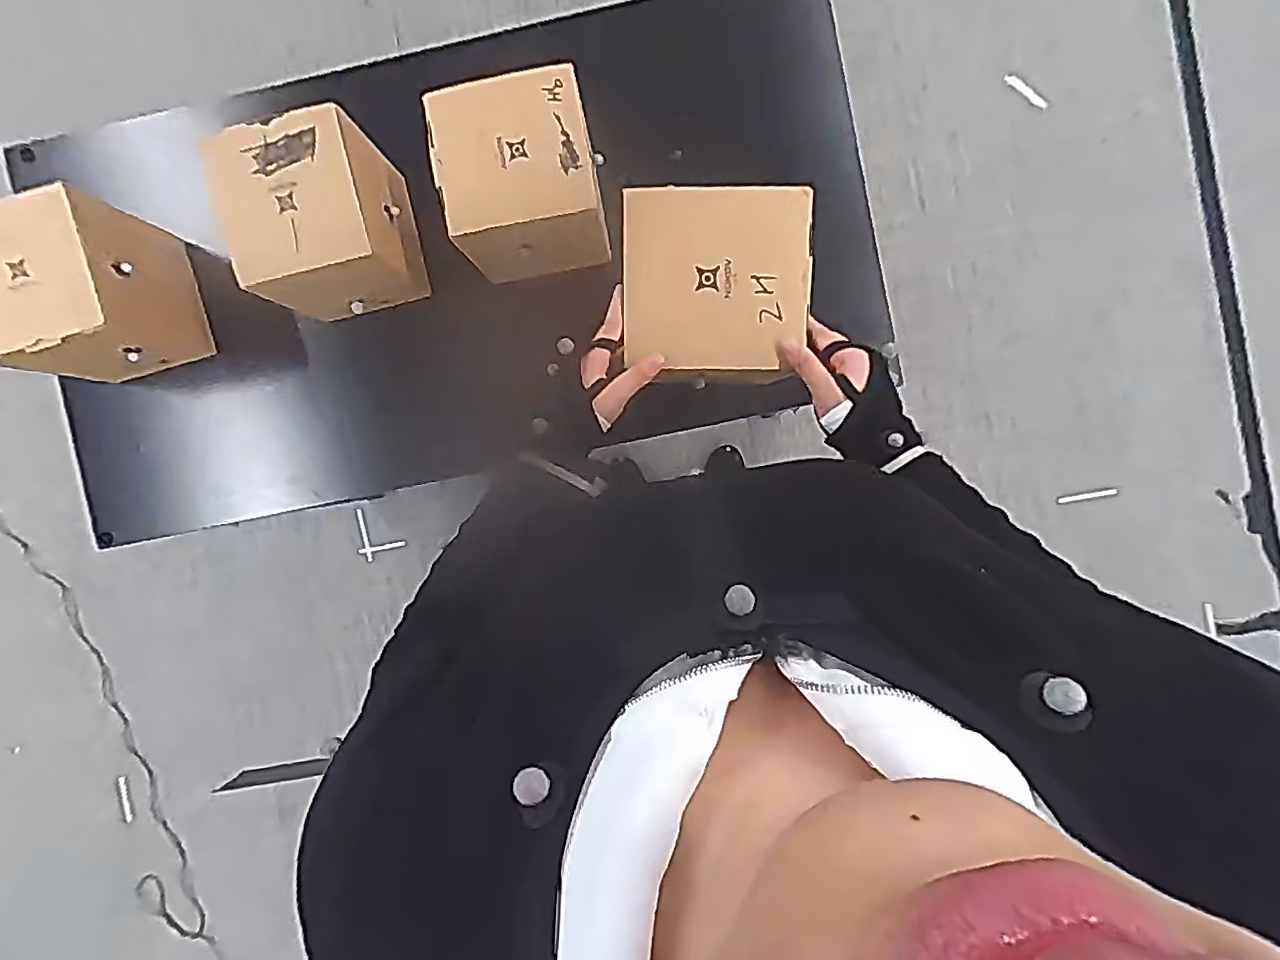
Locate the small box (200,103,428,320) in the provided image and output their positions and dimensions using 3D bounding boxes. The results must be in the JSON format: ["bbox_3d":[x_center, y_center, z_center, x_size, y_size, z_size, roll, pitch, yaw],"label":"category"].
[{"bbox_3d":[-0.397,-0.325,0.689,0.168,0.176,0.179,-13,93,2],"label":"small box"}]

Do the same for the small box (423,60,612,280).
[{"bbox_3d":[-0.141,-0.370,0.680,0.179,0.176,0.168,-10,92,3],"label":"small box"}]

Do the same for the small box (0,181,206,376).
[{"bbox_3d":[-0.719,-0.242,0.702,0.168,0.176,0.179,-16,91,1],"label":"small box"}]

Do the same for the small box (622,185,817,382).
[{"bbox_3d":[0.073,-0.192,0.574,0.179,0.176,0.168,0,97,1],"label":"small box"}]
